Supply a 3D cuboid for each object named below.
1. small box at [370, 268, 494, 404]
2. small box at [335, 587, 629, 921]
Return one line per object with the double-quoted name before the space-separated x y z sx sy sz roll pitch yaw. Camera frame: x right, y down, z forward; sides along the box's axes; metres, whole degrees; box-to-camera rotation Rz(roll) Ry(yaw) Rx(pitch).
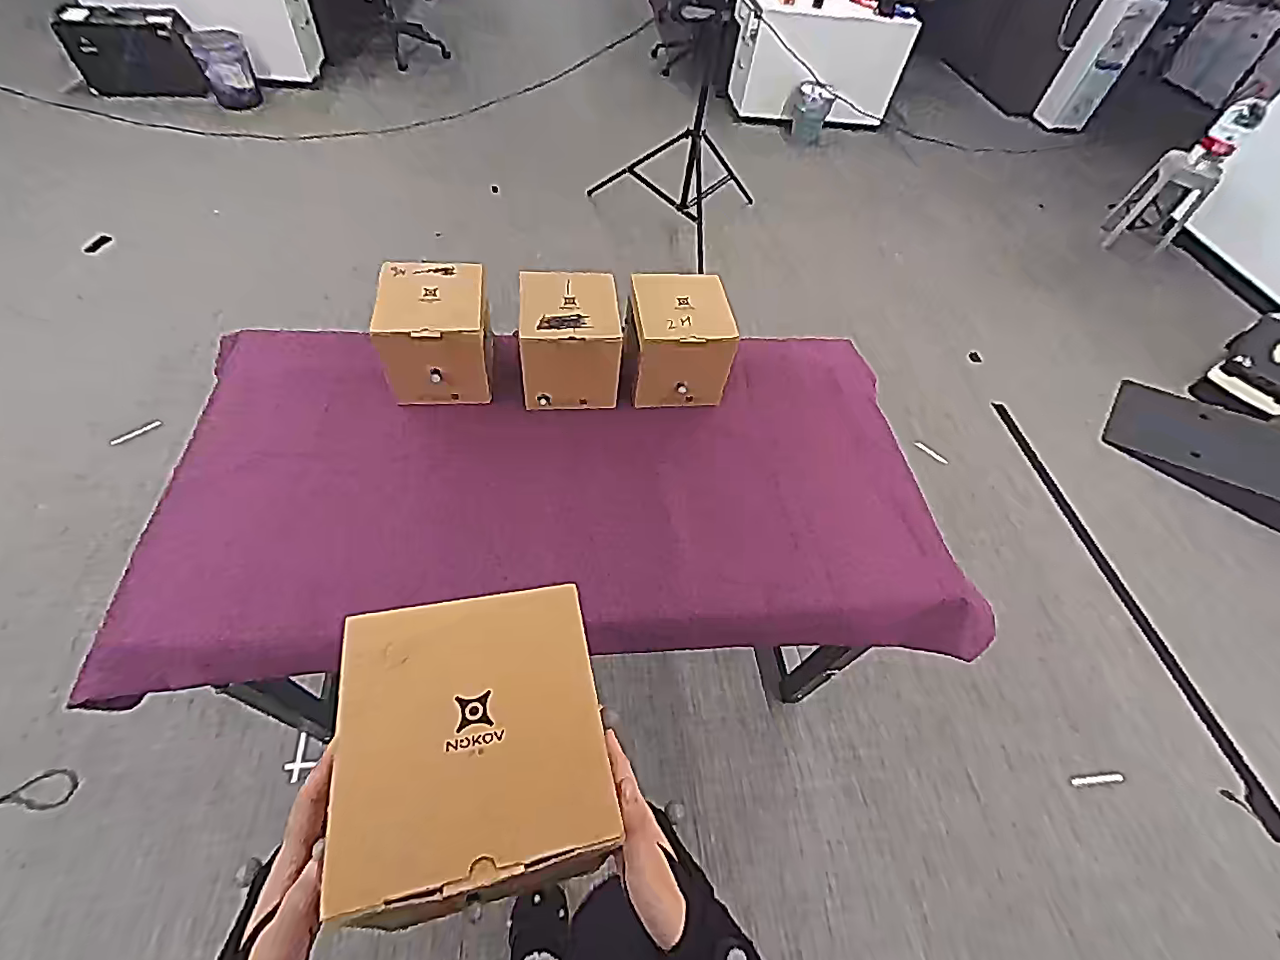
"small box" -0.350 -0.245 0.944 0.168 0.176 0.179 -3 58 -9
"small box" -0.116 0.209 0.417 0.168 0.176 0.179 -6 52 -16
